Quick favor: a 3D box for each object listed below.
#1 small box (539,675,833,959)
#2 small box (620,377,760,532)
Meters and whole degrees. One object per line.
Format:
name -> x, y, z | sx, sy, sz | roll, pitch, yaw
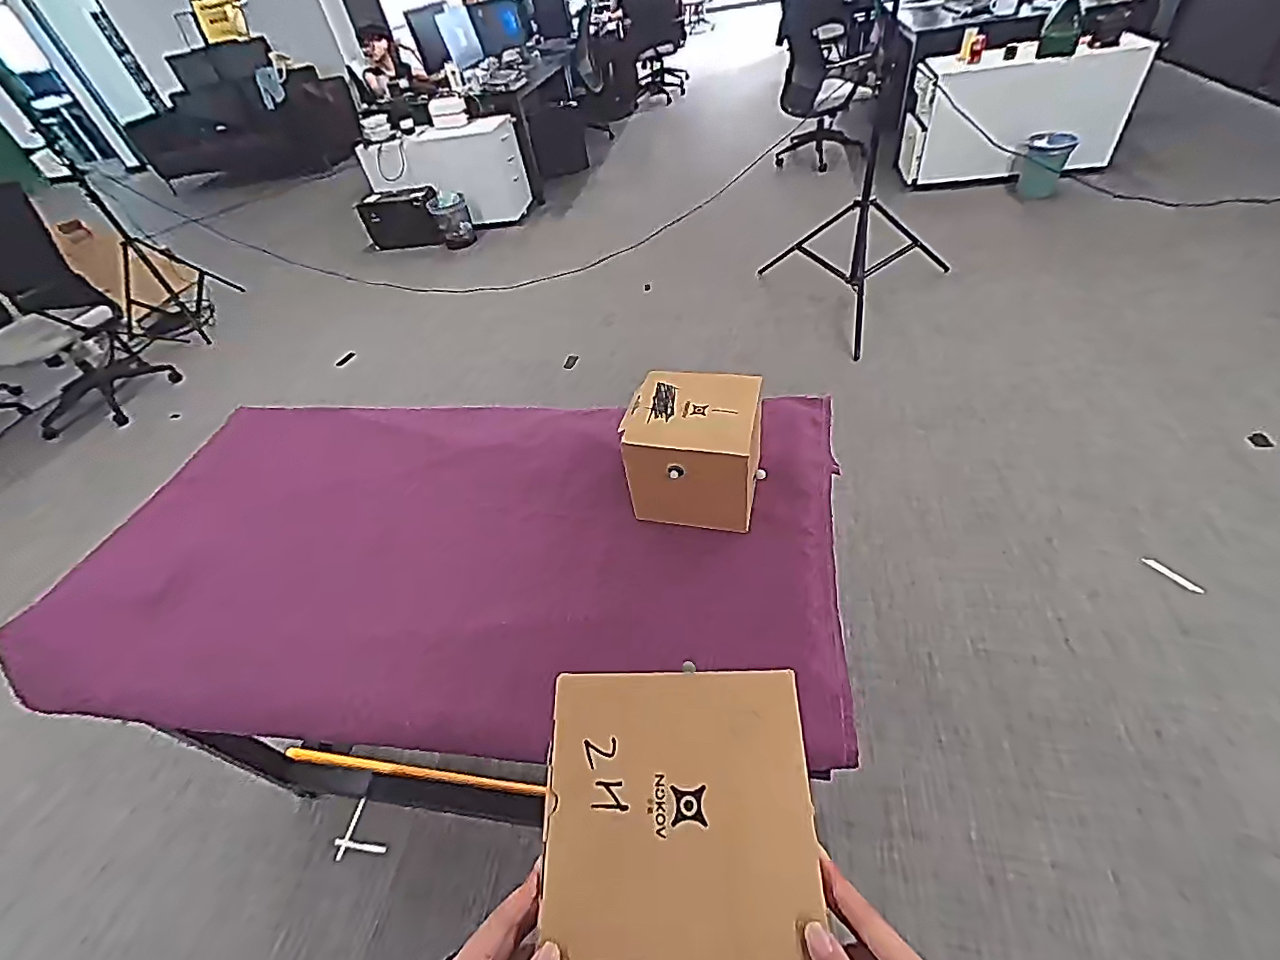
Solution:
small box -> 0.034, 0.253, 0.424 | 0.179, 0.176, 0.168 | -3, 59, 6
small box -> 0.085, -0.037, 0.826 | 0.179, 0.176, 0.168 | 6, 49, 15
